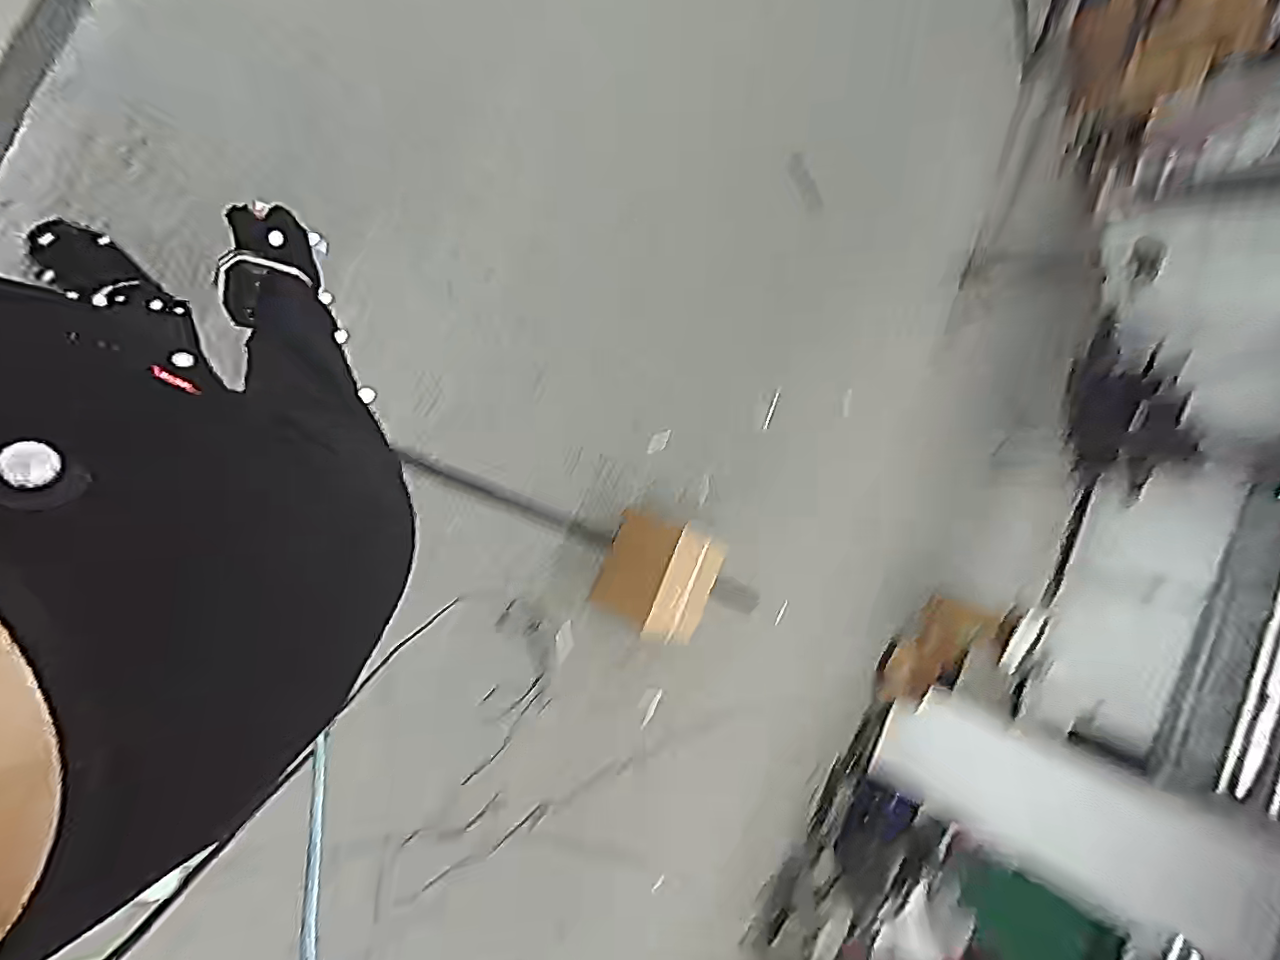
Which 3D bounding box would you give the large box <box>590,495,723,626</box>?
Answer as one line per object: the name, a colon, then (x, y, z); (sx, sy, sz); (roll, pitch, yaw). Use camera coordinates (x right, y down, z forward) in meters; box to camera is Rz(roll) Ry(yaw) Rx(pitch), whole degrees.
large box: (0.065, 0.315, 2.144); (0.320, 0.320, 0.408); (26, 85, -46)
